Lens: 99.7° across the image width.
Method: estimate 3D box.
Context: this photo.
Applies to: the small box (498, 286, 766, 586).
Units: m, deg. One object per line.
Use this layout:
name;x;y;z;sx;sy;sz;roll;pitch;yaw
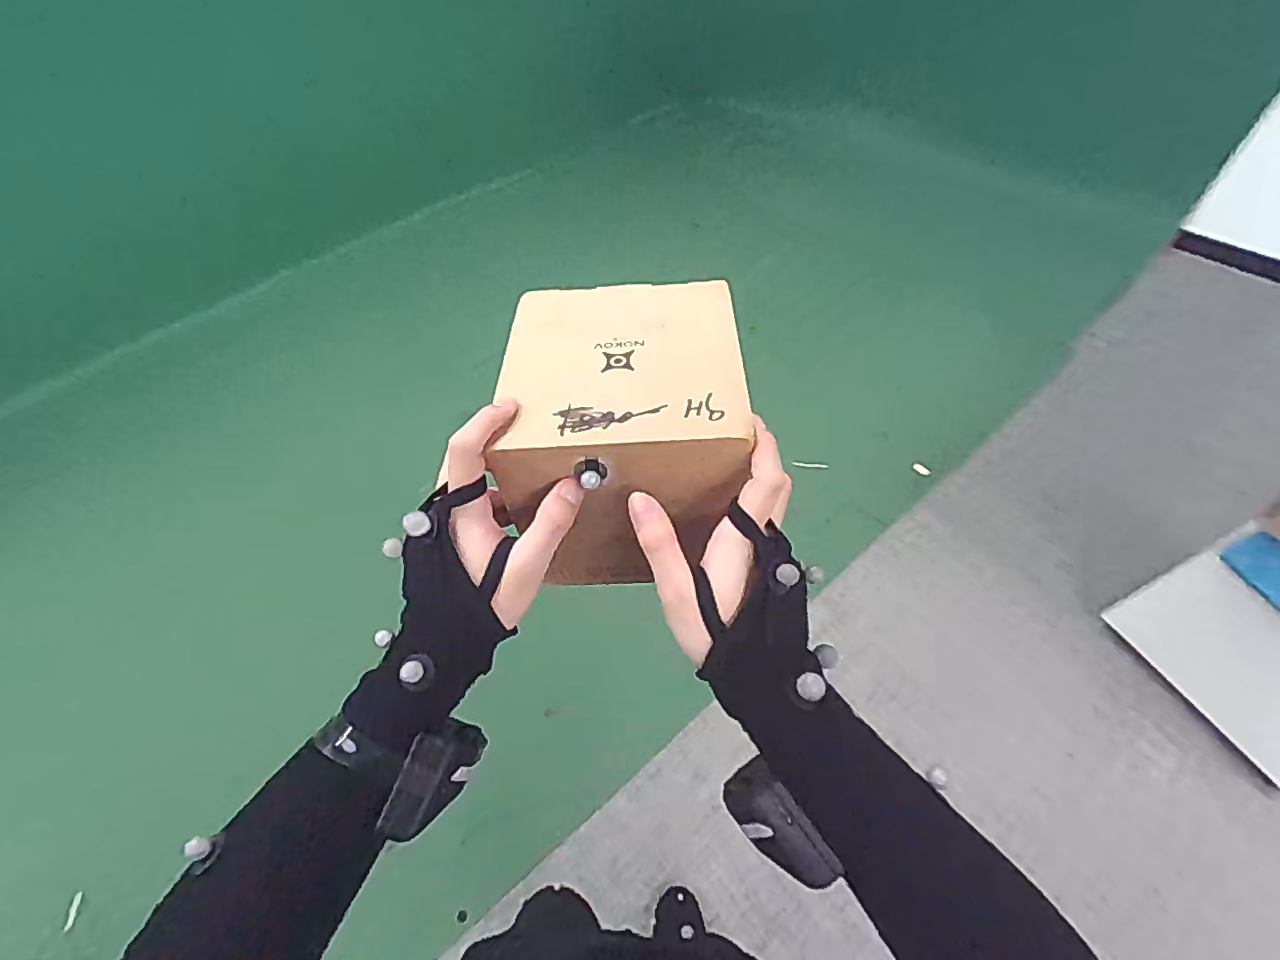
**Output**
small box;0.002;-0.033;0.437;0.168;0.176;0.179;-2;49;5
